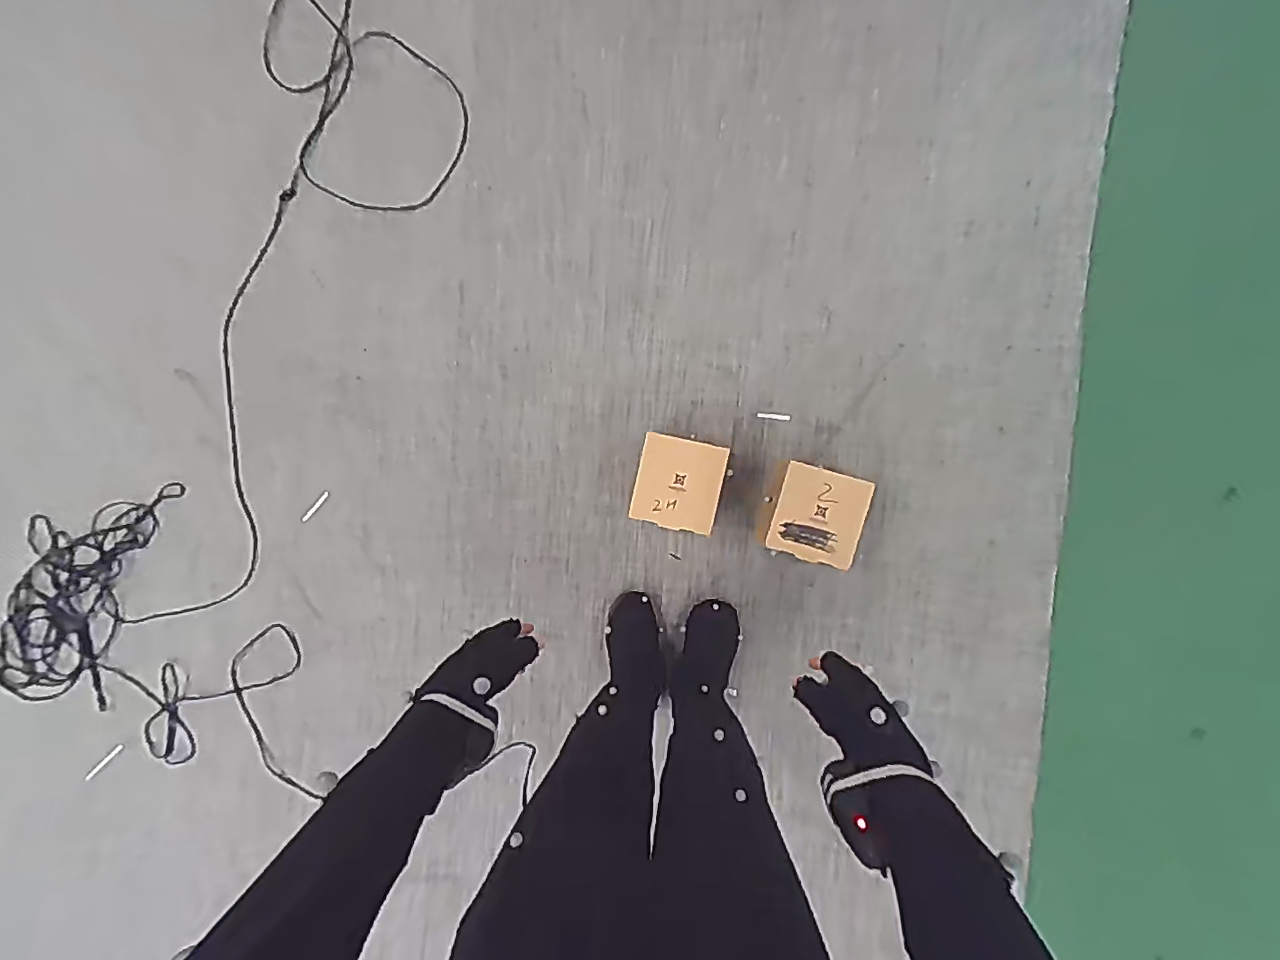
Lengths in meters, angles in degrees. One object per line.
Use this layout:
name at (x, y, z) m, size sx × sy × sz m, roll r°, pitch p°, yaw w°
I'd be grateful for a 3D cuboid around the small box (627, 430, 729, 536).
small box at (0.080, 0.002, 1.122) m, size 0.168 × 0.176 × 0.179 m, roll 13°, pitch 94°, yaw 6°
